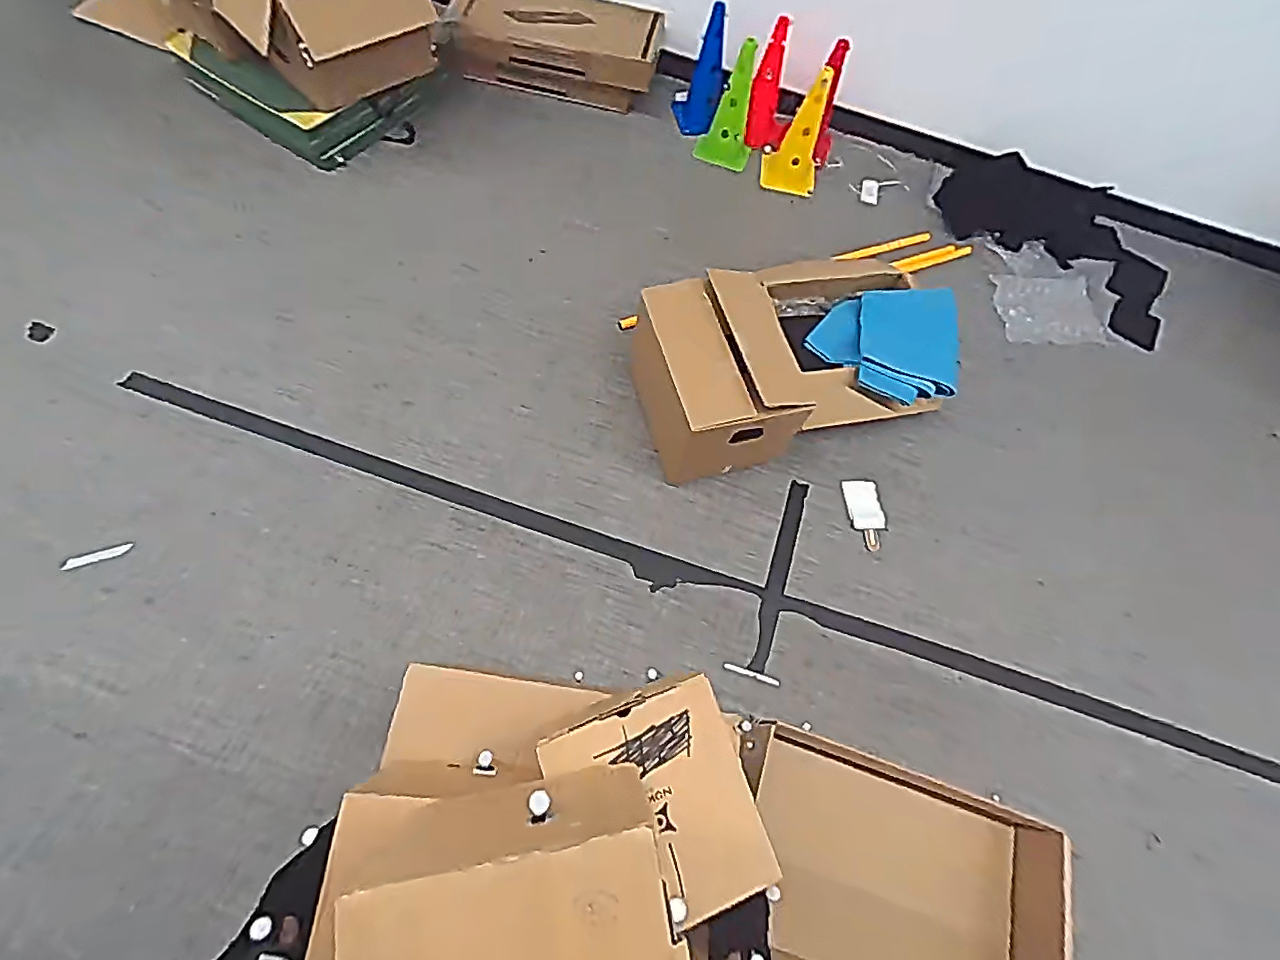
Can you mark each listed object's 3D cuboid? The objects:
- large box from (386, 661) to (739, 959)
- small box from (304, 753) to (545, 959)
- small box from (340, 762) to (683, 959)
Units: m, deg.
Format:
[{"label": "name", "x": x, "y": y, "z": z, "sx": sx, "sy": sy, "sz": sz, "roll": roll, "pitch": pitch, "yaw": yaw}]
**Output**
[{"label": "large box", "x": -0.111, "y": 0.434, "z": 0.736, "sx": 0.408, "sy": 0.320, "sz": 0.320, "roll": 10, "pitch": 71, "yaw": -4}, {"label": "small box", "x": -0.176, "y": 0.364, "z": 0.494, "sx": 0.168, "sy": 0.176, "sz": 0.179, "roll": 6, "pitch": 70, "yaw": -6}, {"label": "small box", "x": -0.069, "y": 0.301, "z": 0.352, "sx": 0.179, "sy": 0.176, "sz": 0.168, "roll": -8, "pitch": 74, "yaw": -8}]
